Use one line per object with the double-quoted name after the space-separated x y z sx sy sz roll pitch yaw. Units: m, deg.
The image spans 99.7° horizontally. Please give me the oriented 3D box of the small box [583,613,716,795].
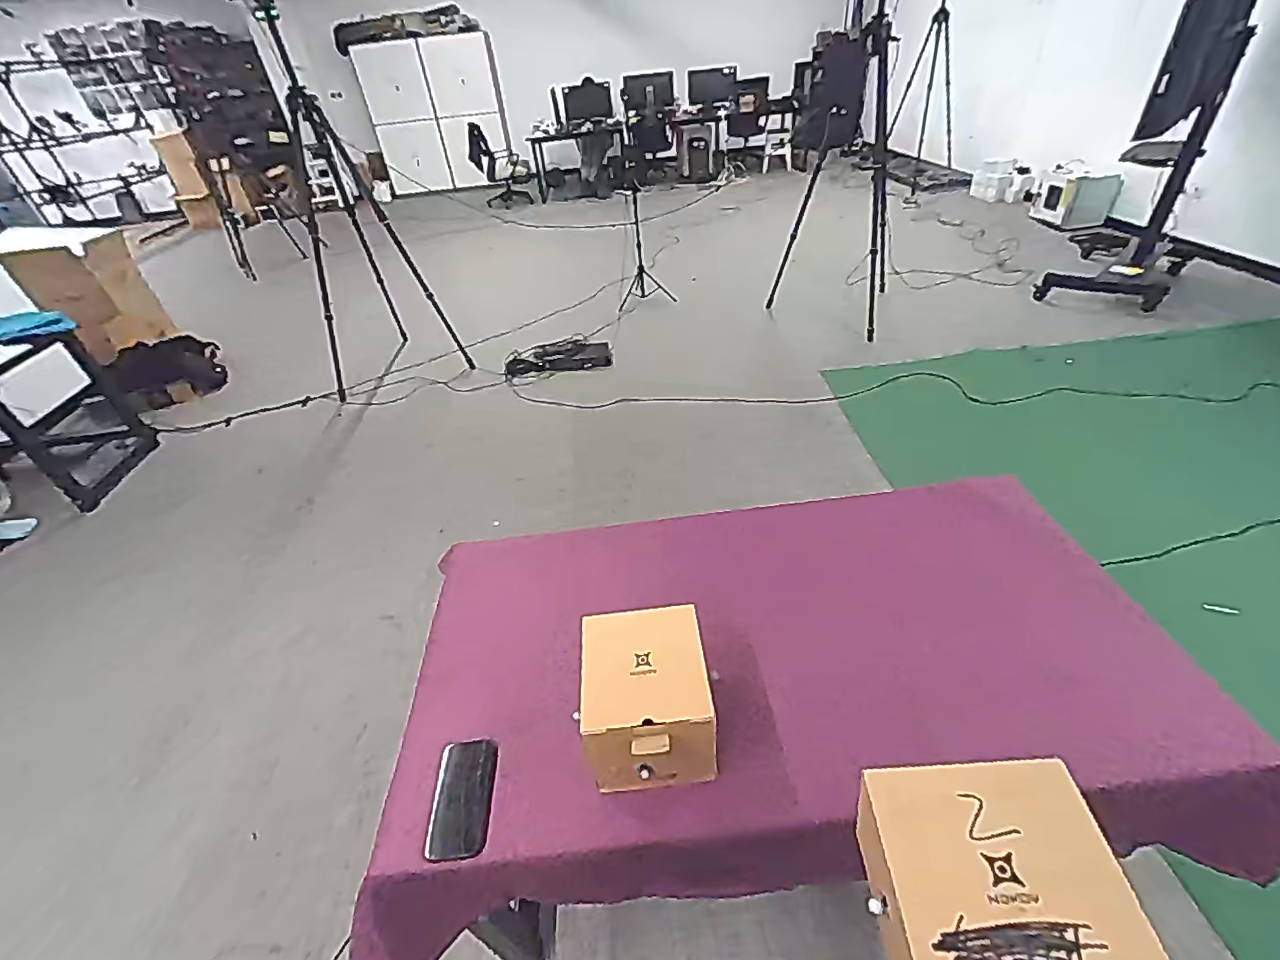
0.012 0.317 0.772 0.168 0.176 0.179 -6 39 0 "small box"
